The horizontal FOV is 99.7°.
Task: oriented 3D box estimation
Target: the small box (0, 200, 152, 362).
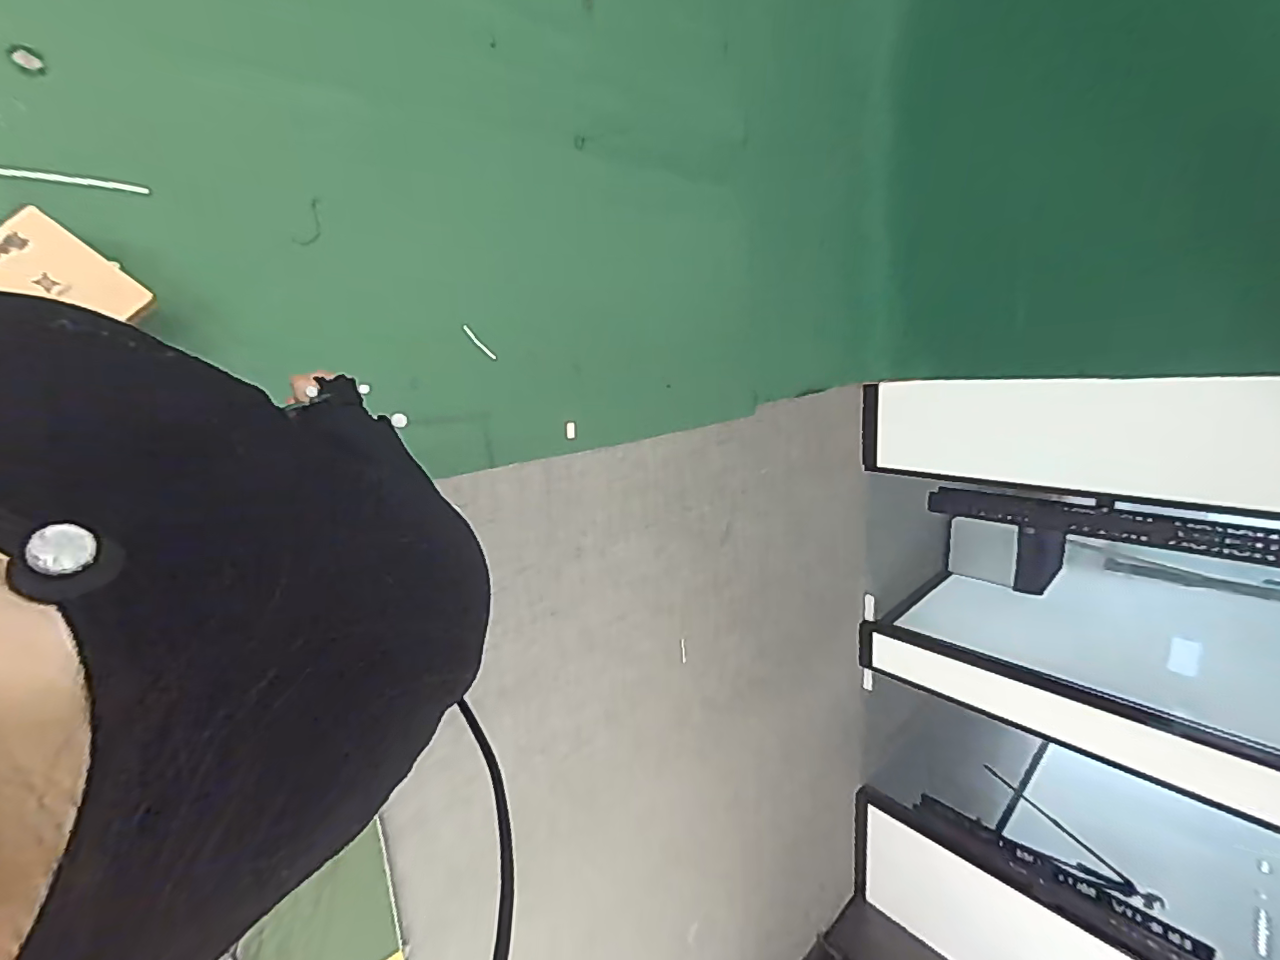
[{"bbox_3d":[-0.948,-0.312,0.878,0.179,0.176,0.168,48,67,-37],"label":"small box"}]
